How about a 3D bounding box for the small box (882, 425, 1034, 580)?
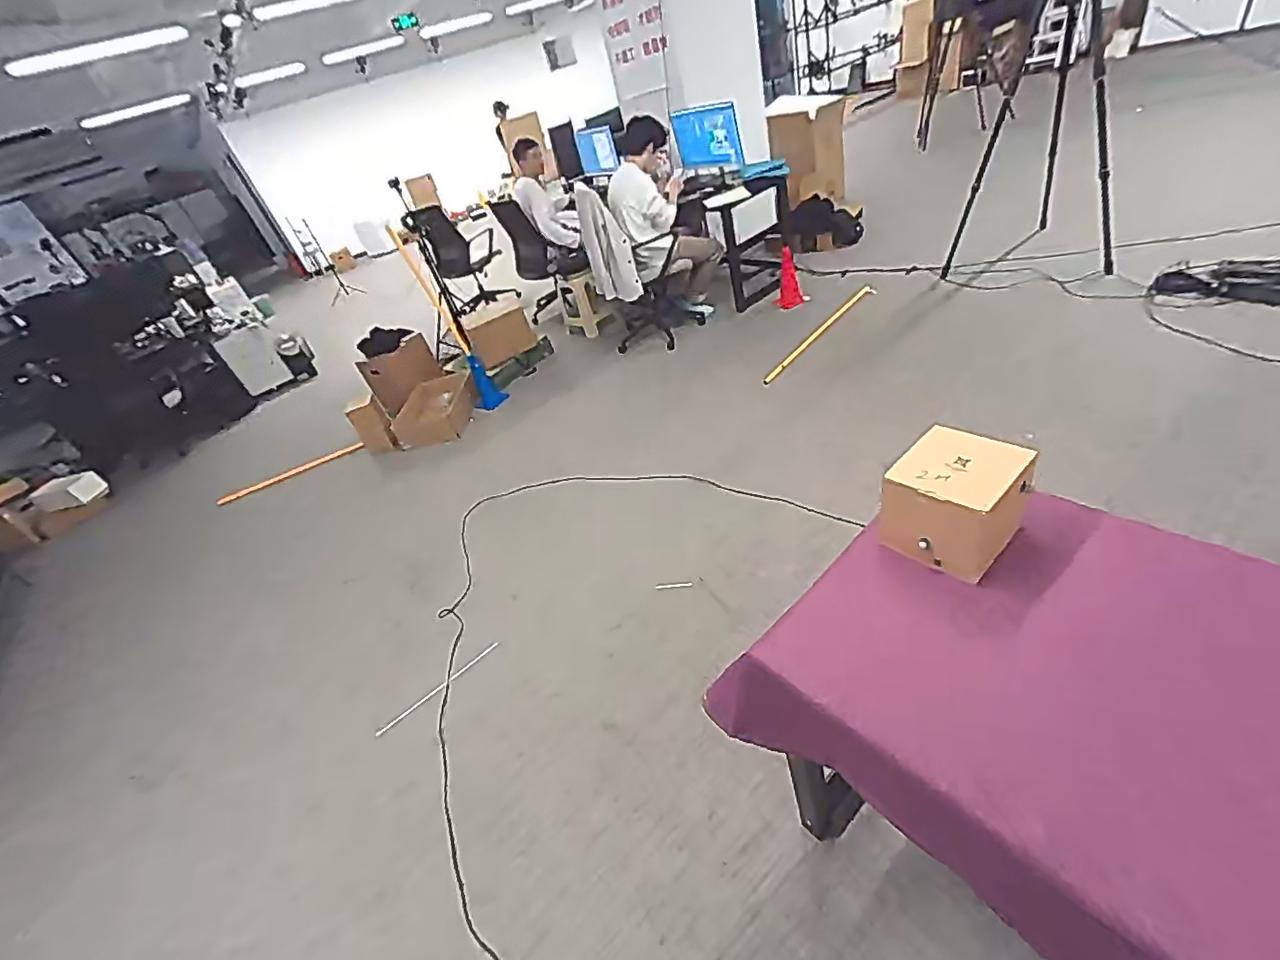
[{"bbox_3d":[0.538,0.036,0.934,0.179,0.176,0.168,-37,40,-23],"label":"small box"}]
